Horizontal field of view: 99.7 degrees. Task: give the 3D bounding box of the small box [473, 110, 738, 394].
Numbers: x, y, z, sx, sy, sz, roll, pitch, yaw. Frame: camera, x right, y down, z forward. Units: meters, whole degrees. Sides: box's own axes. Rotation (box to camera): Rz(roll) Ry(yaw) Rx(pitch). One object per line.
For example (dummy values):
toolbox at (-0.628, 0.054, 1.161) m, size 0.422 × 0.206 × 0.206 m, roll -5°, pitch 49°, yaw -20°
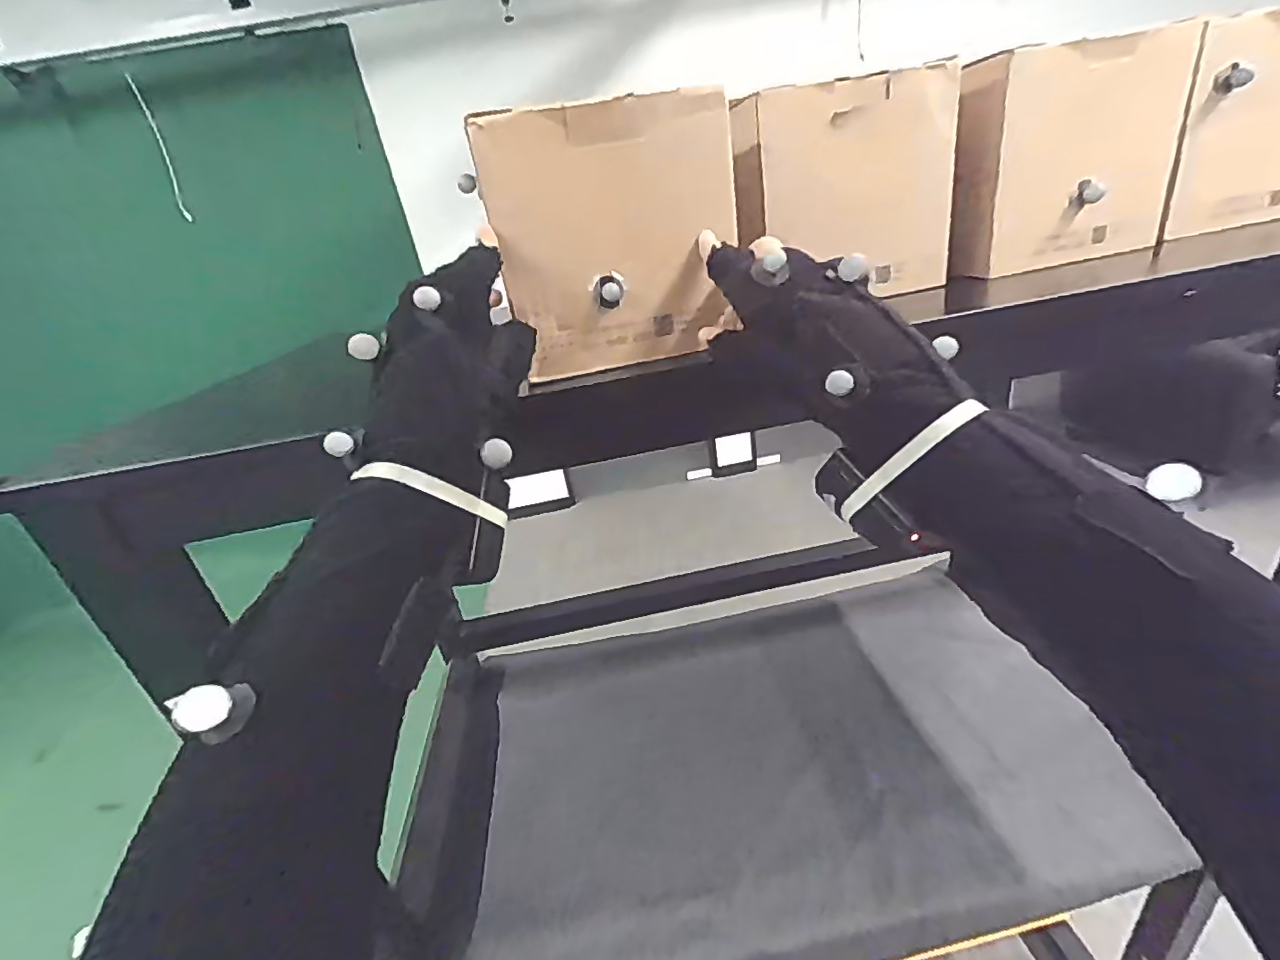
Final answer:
small box at (-0.029, -0.180, 0.449) m, size 0.168 × 0.176 × 0.179 m, roll -14°, pitch 25°, yaw -7°
